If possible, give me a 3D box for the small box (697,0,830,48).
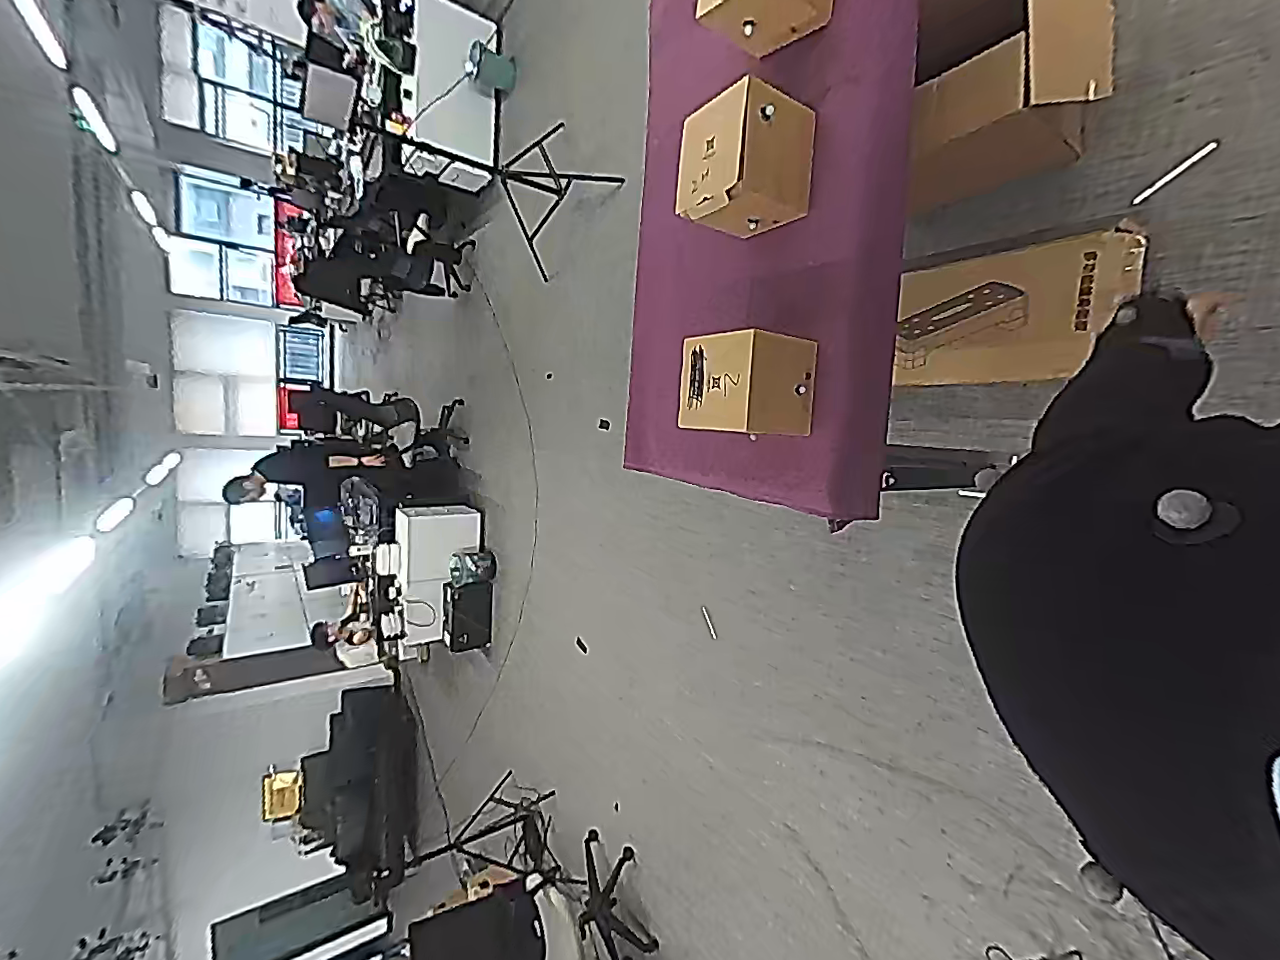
[{"bbox_3d":[0.221,-0.878,0.914,0.168,0.176,0.179,22,109,52],"label":"small box"}]

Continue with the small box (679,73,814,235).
[{"bbox_3d":[0.190,-0.565,0.965,0.168,0.176,0.179,11,100,56],"label":"small box"}]
